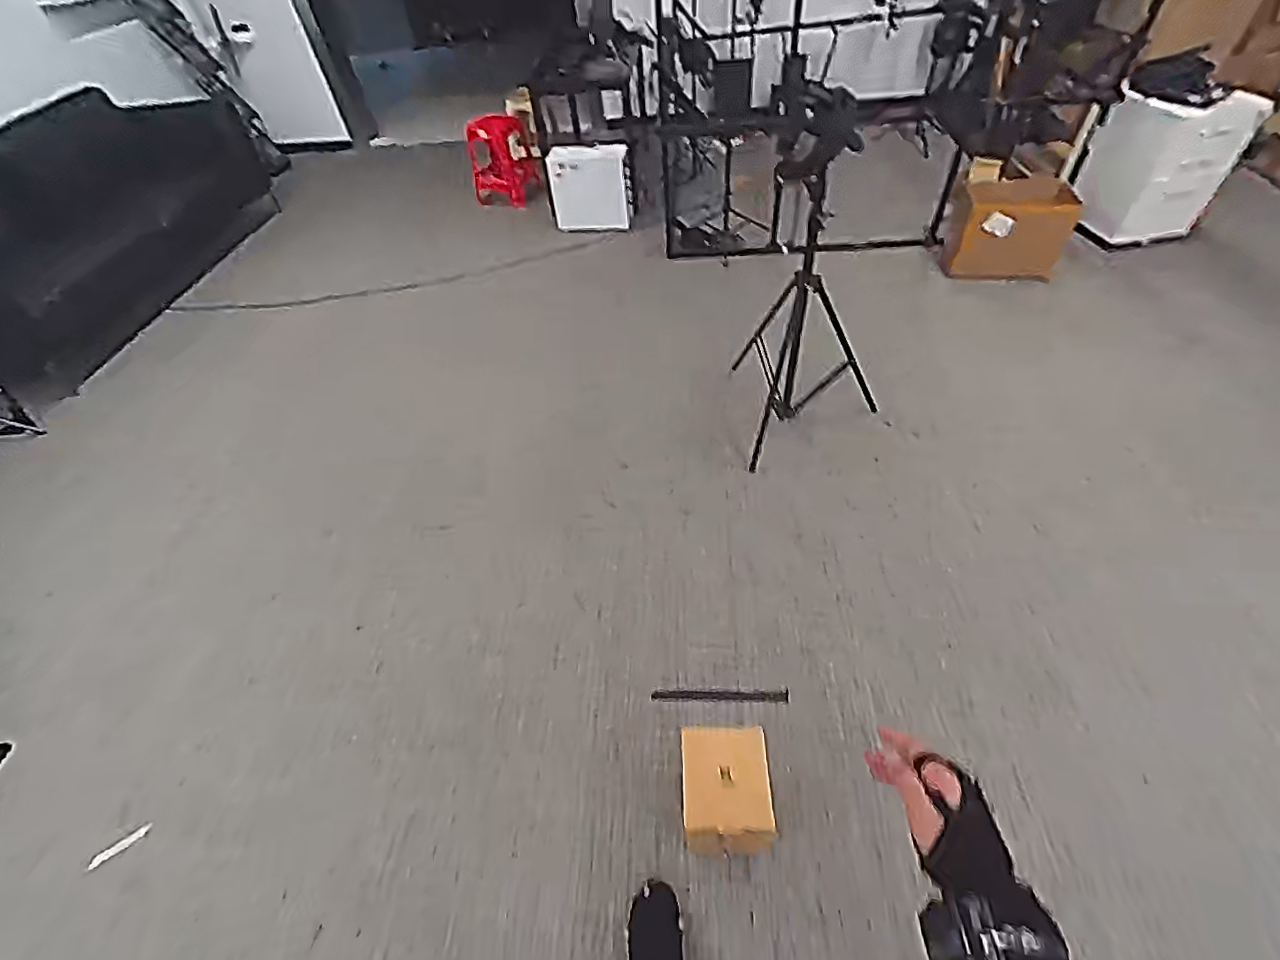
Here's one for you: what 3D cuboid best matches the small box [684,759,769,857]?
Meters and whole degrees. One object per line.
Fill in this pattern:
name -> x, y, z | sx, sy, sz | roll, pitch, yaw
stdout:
small box -> 0.187, 0.726, 1.201 | 0.168, 0.176, 0.179 | -3, 48, 3

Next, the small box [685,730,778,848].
small box -> 0.173, 0.618, 1.081 | 0.168, 0.176, 0.179 | -3, 49, 5
